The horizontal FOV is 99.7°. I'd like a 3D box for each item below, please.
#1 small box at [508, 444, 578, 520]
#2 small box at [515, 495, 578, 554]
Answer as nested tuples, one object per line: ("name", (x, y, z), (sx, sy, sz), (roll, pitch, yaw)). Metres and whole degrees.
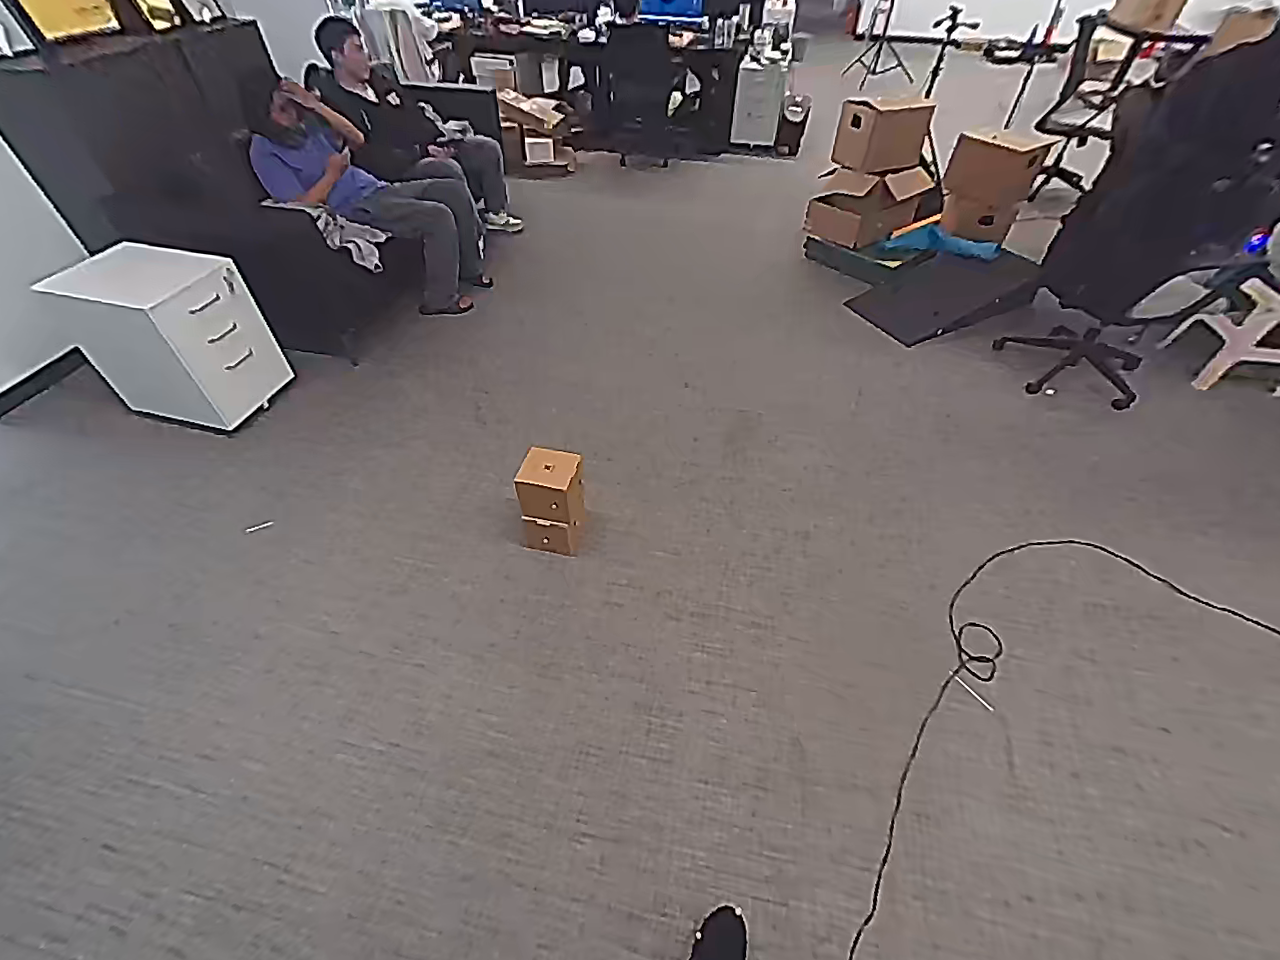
("small box", (-0.309, 0.009, 1.769), (0.179, 0.176, 0.168), (9, 46, 8))
("small box", (-0.321, 0.136, 1.898), (0.168, 0.176, 0.179), (8, 47, 7))
